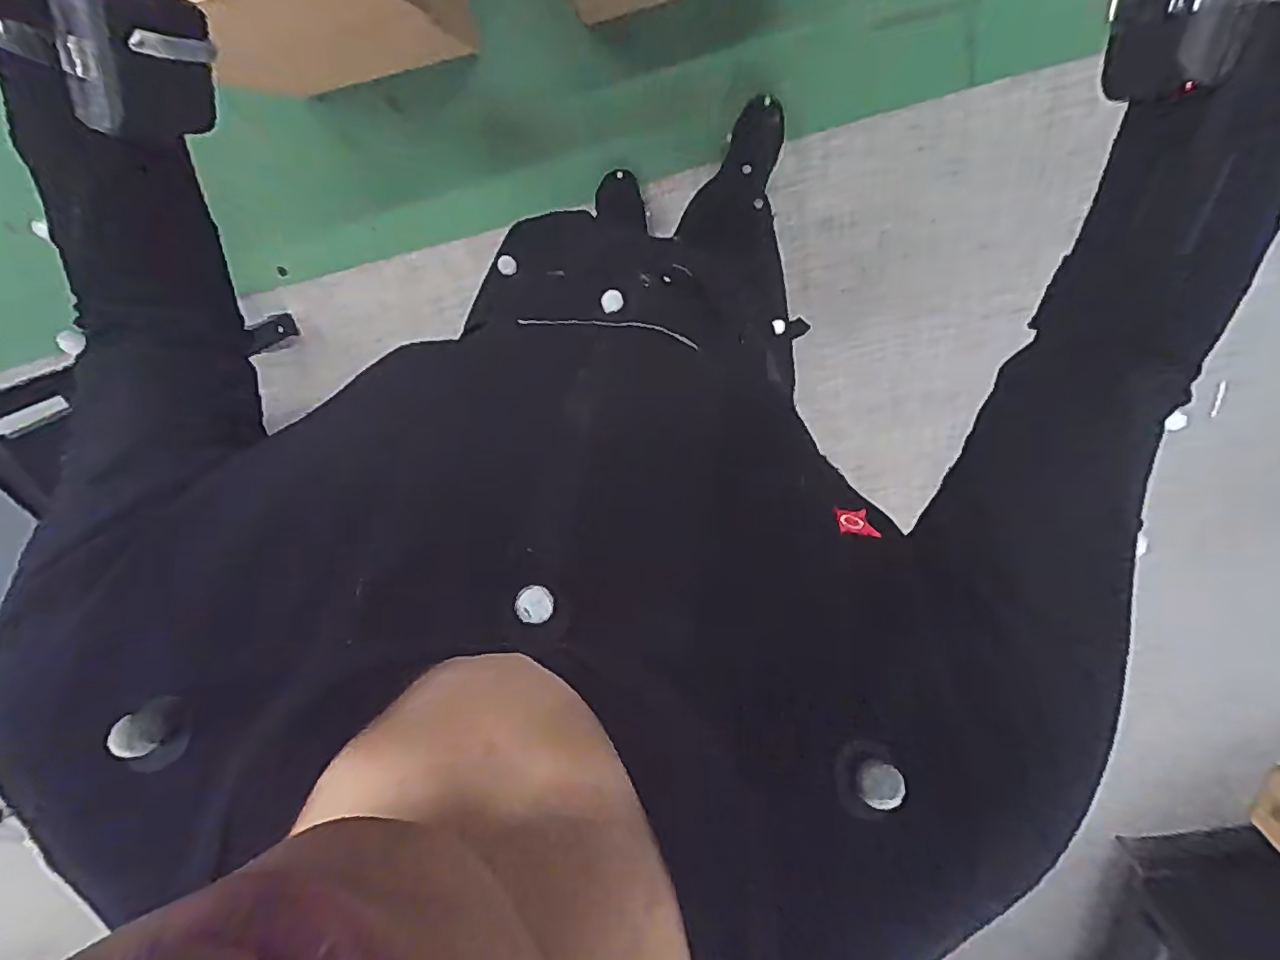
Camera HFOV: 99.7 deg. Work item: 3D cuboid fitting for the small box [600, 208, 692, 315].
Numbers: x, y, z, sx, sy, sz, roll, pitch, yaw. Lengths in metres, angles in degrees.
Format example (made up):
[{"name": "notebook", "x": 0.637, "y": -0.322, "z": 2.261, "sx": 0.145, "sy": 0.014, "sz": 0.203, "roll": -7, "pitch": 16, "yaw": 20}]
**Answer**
[{"name": "small box", "x": 0.005, "y": -0.505, "z": 1.247, "sx": 0.168, "sy": 0.176, "sz": 0.179, "roll": 5, "pitch": 125, "yaw": -15}]
